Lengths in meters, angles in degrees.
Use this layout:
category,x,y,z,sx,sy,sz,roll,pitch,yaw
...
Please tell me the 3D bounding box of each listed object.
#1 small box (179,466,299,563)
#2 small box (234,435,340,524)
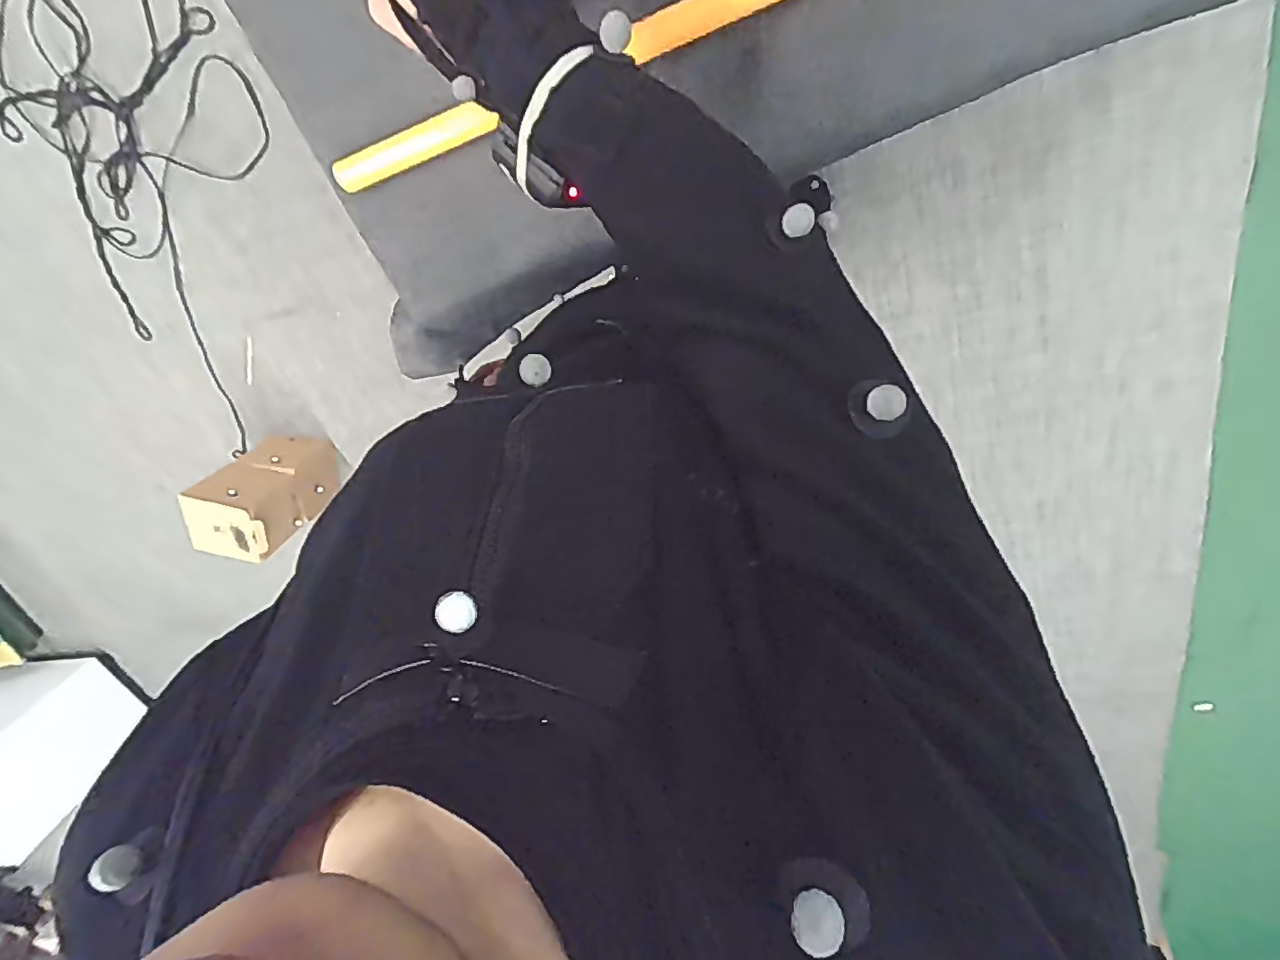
category,x,y,z,sx,sy,sz,roll,pitch,yaw
small box,-1.000,0.082,1.371,0.179,0.176,0.168,13,121,0
small box,-0.973,-0.003,1.510,0.168,0.176,0.179,8,121,2
